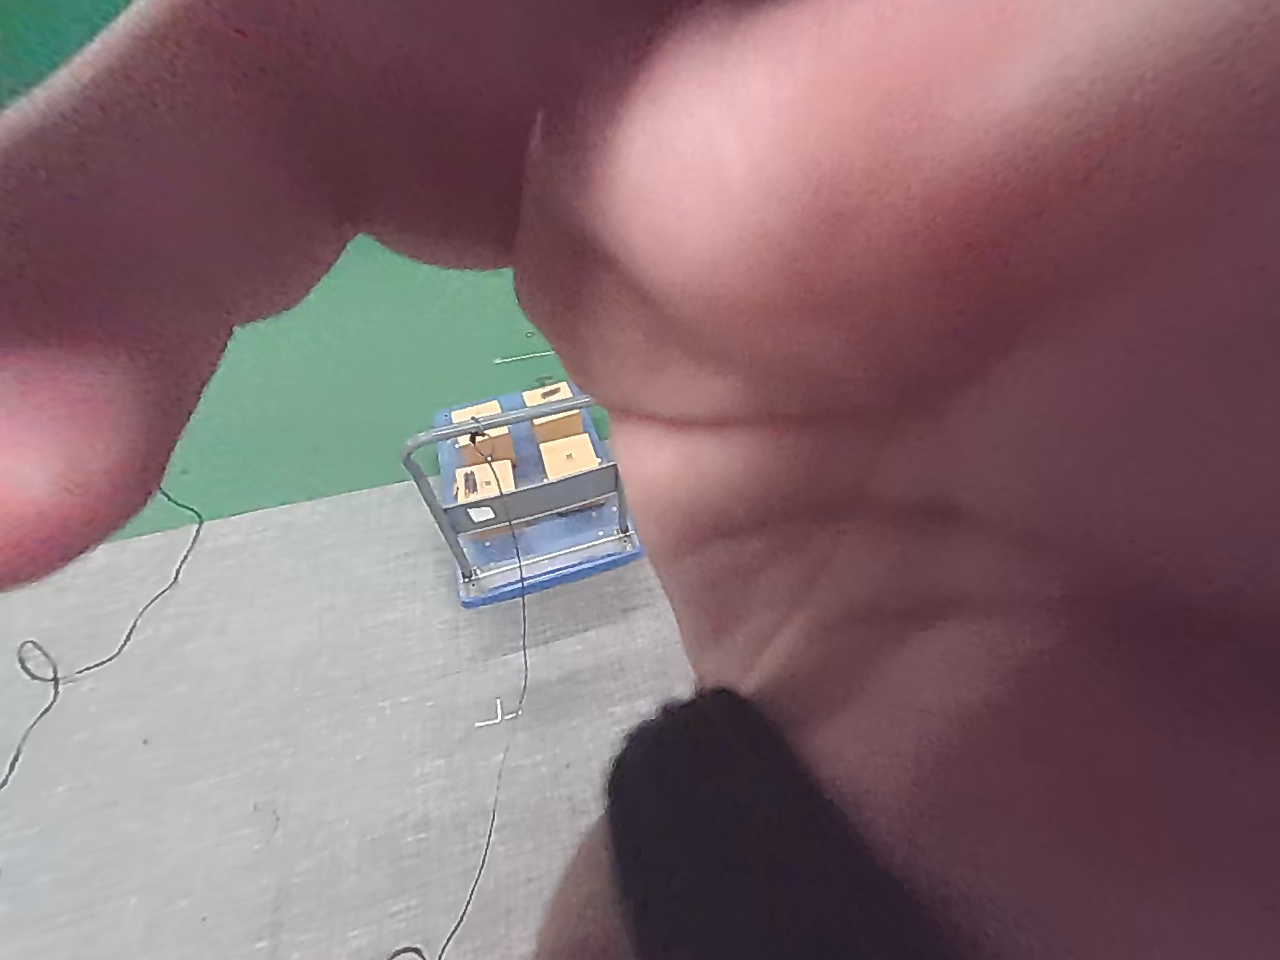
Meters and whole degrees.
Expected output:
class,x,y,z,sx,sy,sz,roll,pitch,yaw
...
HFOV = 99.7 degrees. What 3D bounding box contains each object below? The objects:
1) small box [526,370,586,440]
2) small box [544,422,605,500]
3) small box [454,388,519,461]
class,x,y,z,sx,sy,sz,roll,pitch,yaw
small box,-0.300,-0.264,1.948,0.168,0.176,0.179,-18,55,-12
small box,-0.216,-0.062,1.790,0.168,0.176,0.179,-14,54,-10
small box,-0.533,-0.187,1.891,0.168,0.176,0.179,-17,54,-14
